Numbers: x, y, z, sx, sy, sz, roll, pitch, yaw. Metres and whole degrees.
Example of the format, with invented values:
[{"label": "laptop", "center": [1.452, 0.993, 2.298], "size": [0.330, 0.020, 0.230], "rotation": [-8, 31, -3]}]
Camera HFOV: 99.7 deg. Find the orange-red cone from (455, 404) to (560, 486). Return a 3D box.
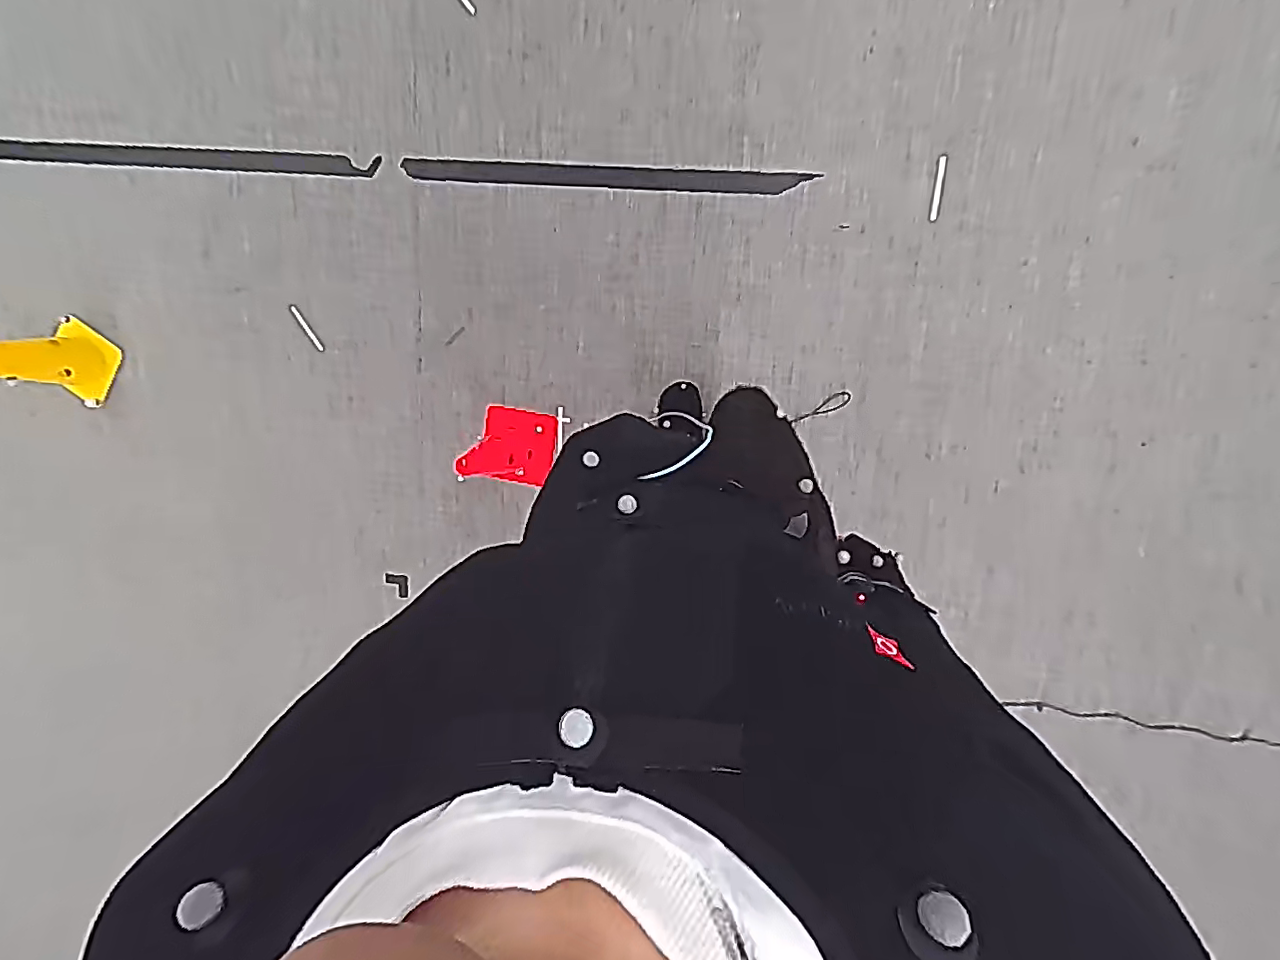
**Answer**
[{"label": "orange-red cone", "center": [-0.344, -0.065, 1.284], "size": [0.199, 0.360, 0.198], "rotation": [12, 101, 6]}]
